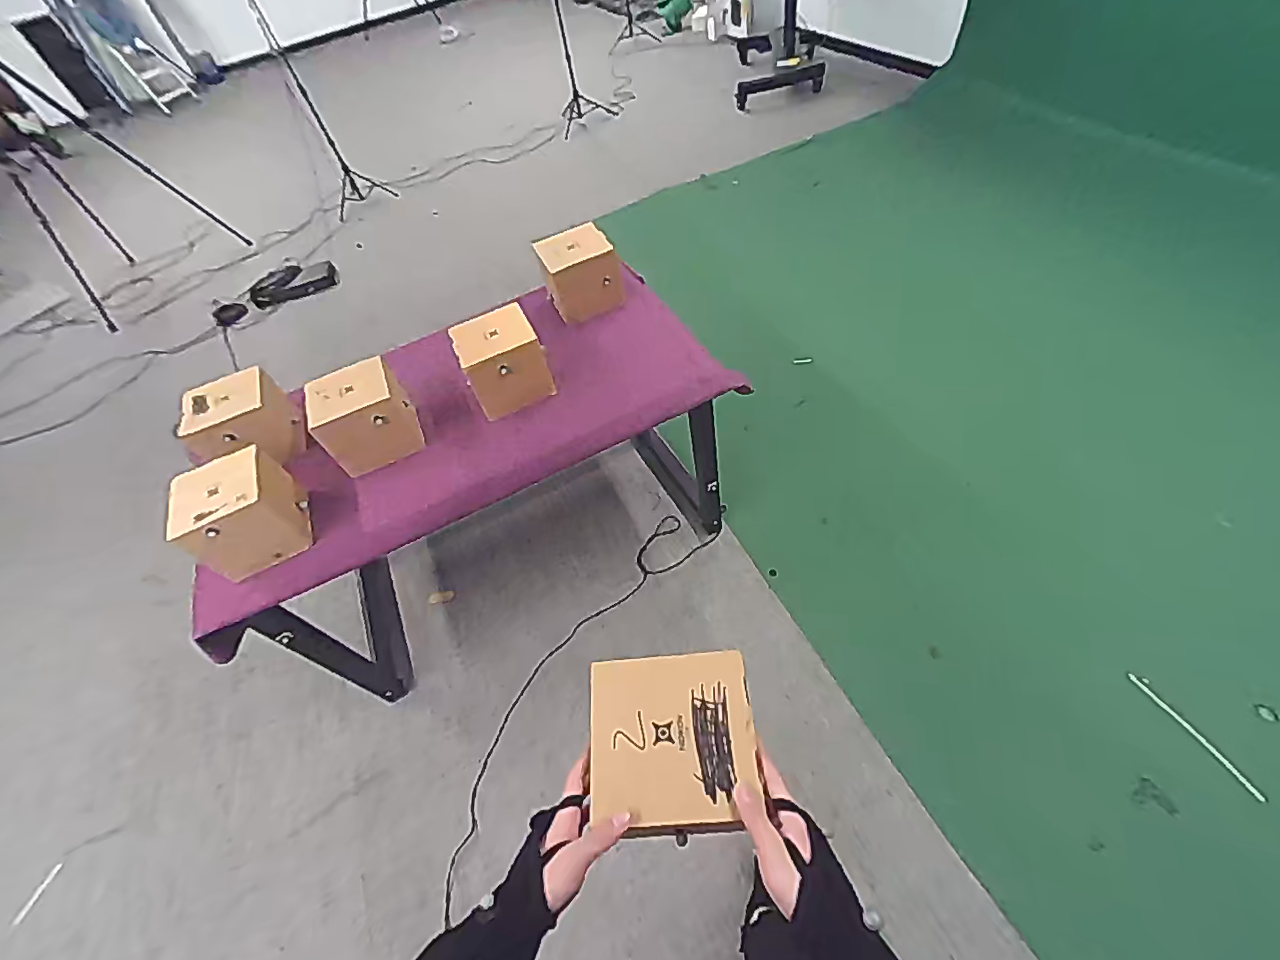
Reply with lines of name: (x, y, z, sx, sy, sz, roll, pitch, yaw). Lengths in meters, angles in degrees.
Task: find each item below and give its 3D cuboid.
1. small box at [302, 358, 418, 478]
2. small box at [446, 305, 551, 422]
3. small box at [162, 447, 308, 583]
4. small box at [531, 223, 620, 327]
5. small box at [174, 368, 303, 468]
small box: (-0.618, -0.136, 1.212, 0.179, 0.176, 0.168, -25, 52, -9)
small box: (-0.321, -0.269, 1.261, 0.179, 0.176, 0.168, -26, 53, -8)
small box: (-0.800, 0.073, 1.084, 0.168, 0.176, 0.179, -27, 51, -10)
small box: (-0.163, -0.539, 1.432, 0.179, 0.176, 0.168, -25, 54, -7)
small box: (-0.924, -0.123, 1.259, 0.179, 0.176, 0.168, -25, 53, -10)
